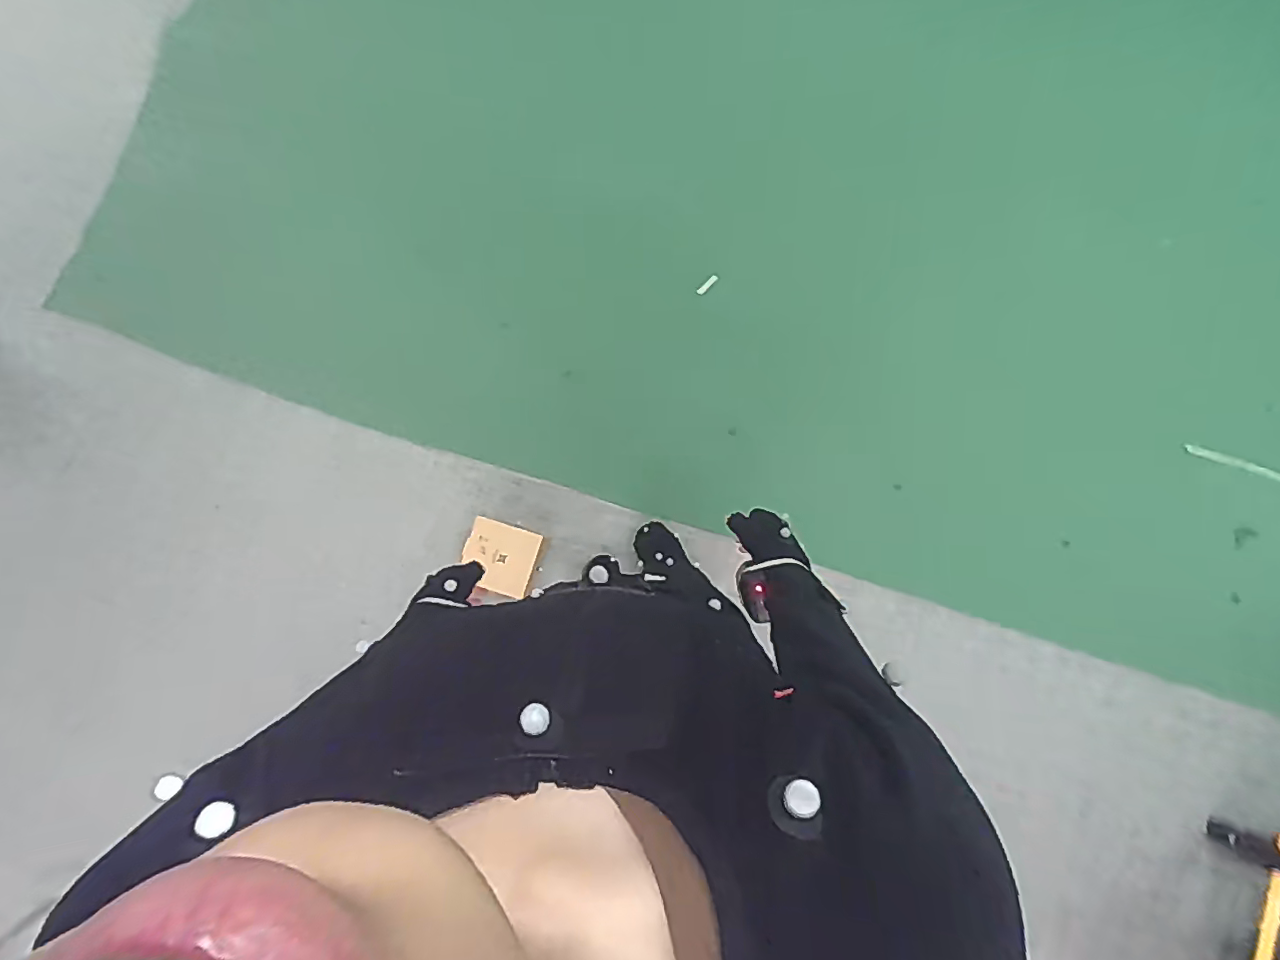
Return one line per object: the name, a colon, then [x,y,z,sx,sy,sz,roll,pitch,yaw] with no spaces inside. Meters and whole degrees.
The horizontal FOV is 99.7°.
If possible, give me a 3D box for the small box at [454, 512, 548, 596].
small box: [-0.347,0.187,1.394,0.179,0.176,0.168,18,83,0]
